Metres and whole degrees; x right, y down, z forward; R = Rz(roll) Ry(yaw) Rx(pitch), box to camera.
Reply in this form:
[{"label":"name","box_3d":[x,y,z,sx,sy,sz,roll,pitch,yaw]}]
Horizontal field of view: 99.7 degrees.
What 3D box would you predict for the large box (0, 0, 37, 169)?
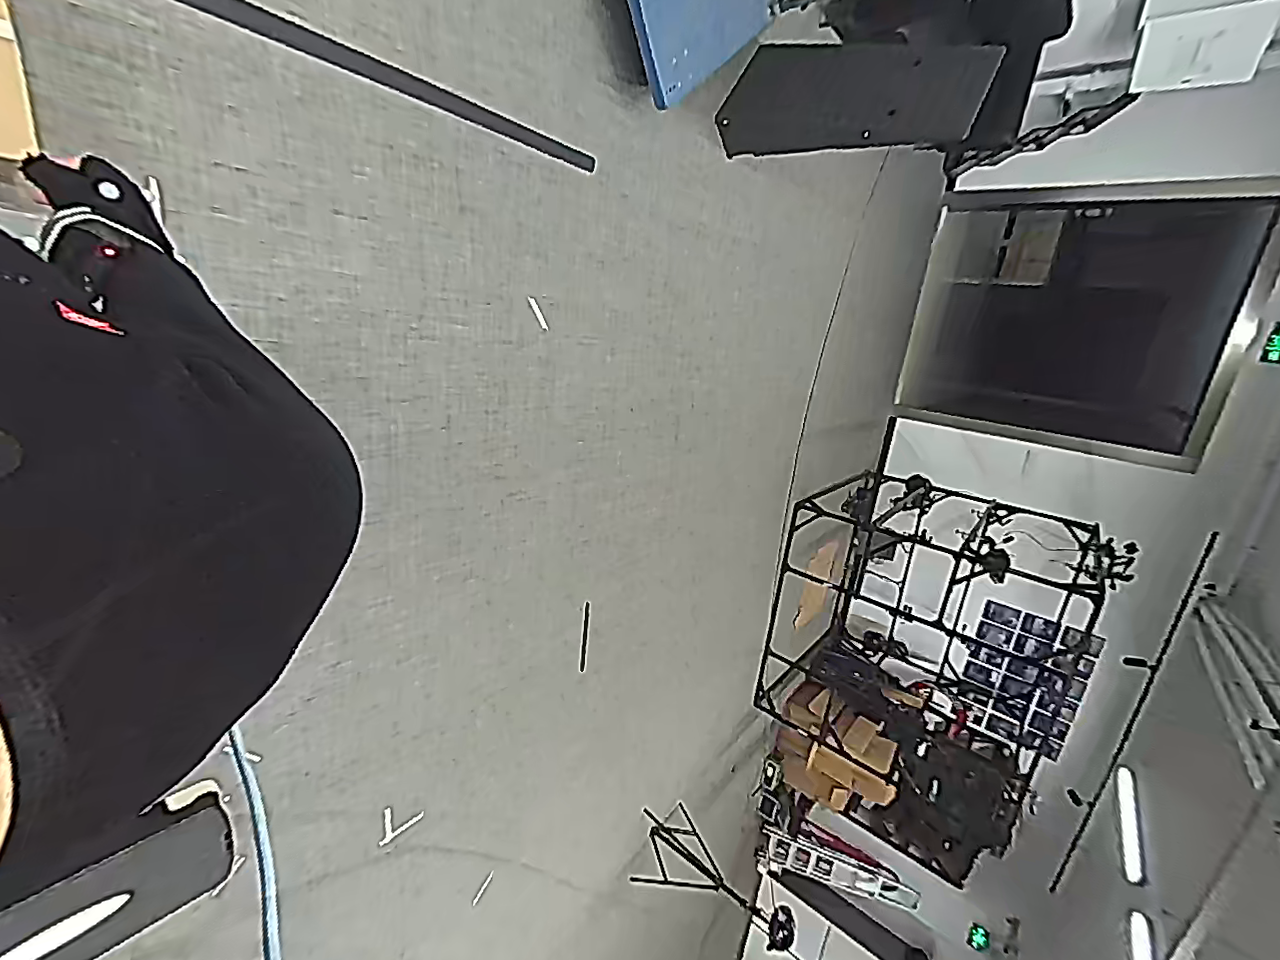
[{"label":"large box","box_3d":[-1.075,-0.600,0.647,0.408,0.320,0.320,-17,119,-51]}]
